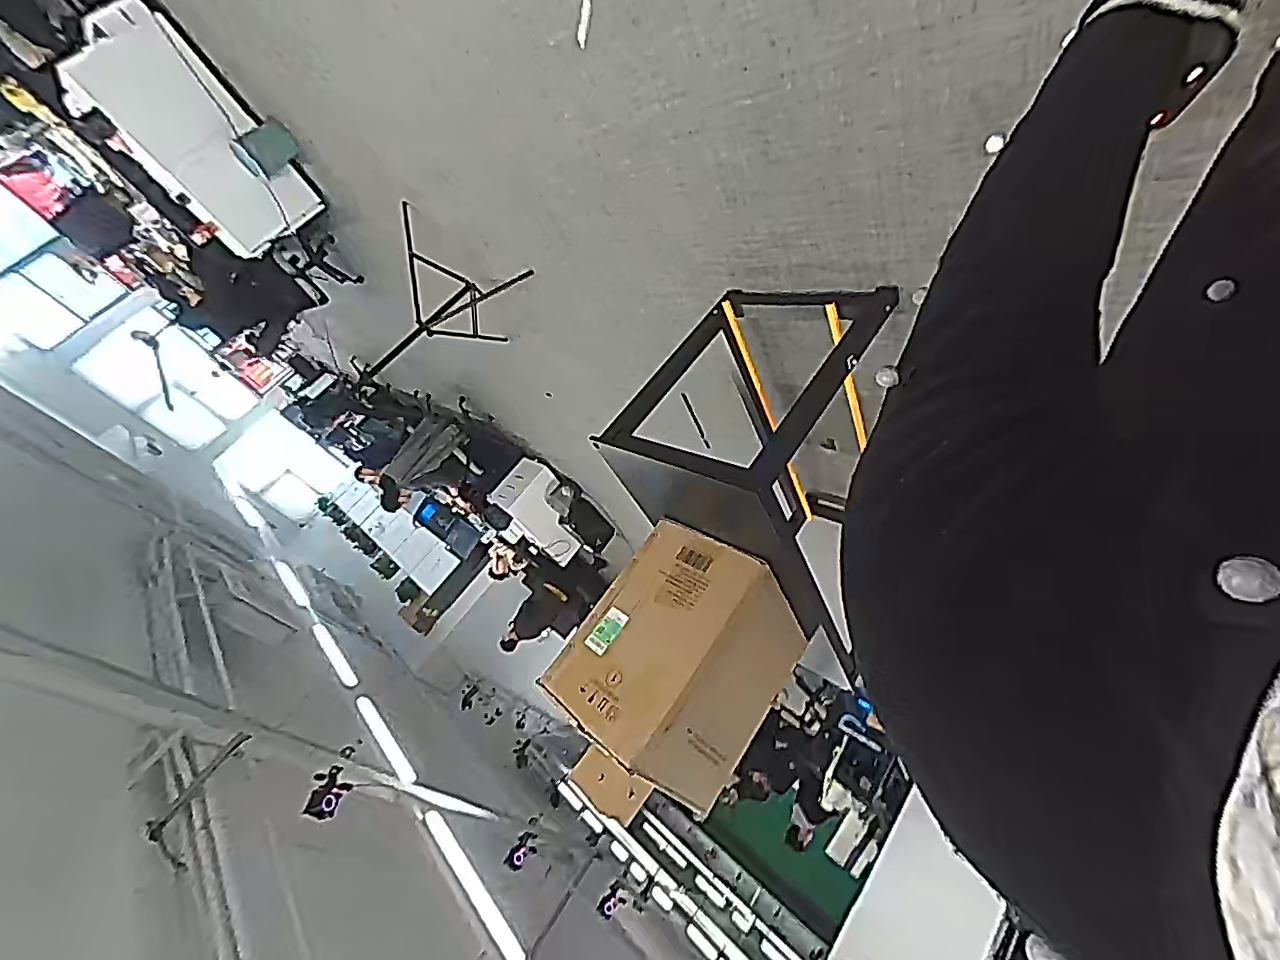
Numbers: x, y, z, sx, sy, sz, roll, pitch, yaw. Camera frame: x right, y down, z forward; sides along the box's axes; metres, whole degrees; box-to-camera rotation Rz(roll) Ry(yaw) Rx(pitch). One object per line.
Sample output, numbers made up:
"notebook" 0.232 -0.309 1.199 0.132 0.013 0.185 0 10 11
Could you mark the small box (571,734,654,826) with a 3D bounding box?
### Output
"small box" -0.079 0.942 1.708 0.179 0.176 0.168 20 153 48
